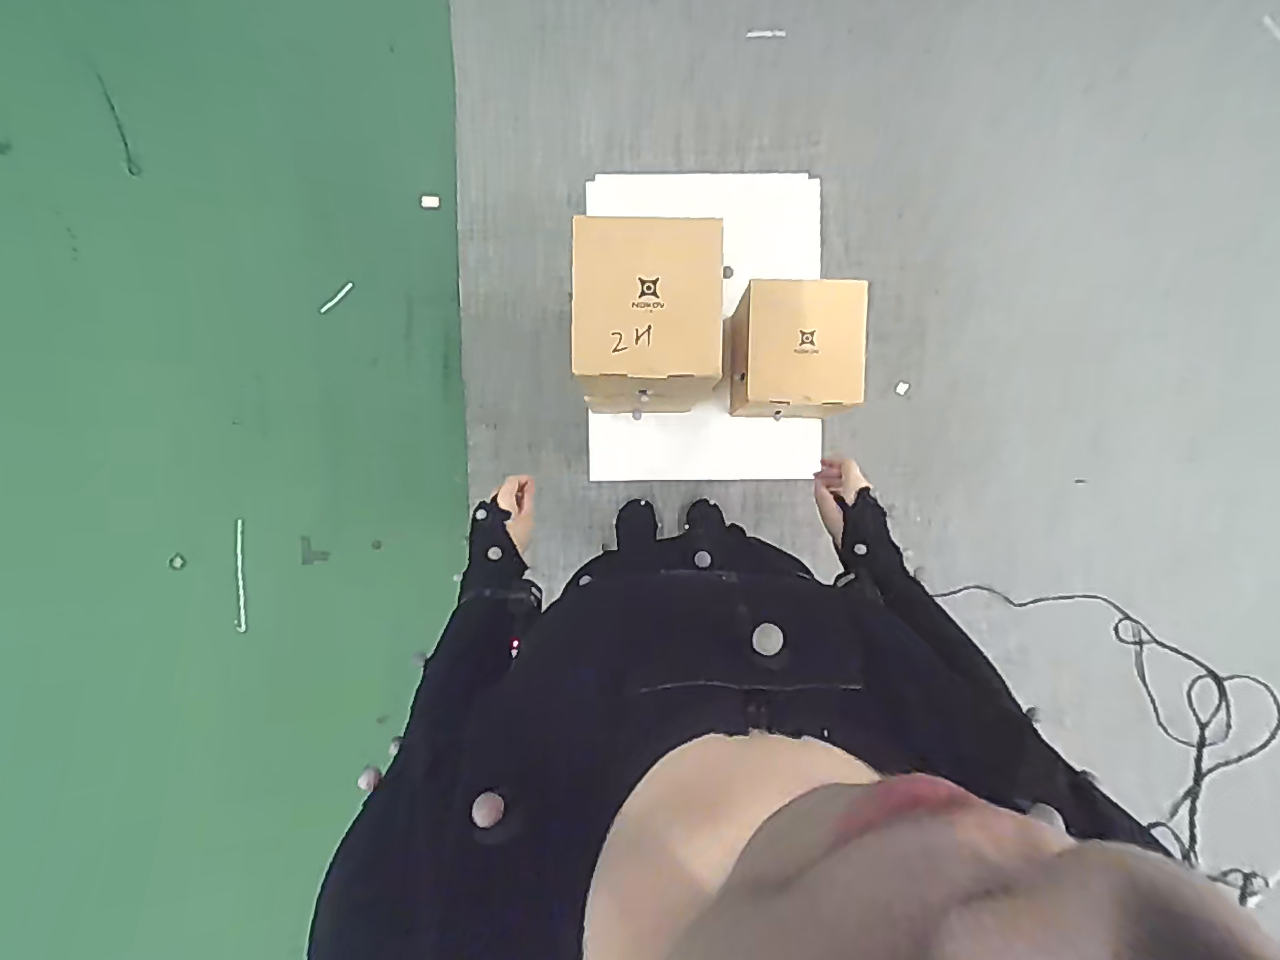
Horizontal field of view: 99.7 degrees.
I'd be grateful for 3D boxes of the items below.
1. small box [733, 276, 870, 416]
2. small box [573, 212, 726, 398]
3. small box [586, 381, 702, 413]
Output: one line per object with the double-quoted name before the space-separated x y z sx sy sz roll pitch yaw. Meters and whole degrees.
"small box" 0.237 -0.196 0.831 0.168 0.176 0.179 1 91 2
"small box" 0.010 -0.203 0.667 0.168 0.176 0.179 1 91 0
"small box" 0.005 -0.201 0.832 0.168 0.176 0.179 0 91 0
